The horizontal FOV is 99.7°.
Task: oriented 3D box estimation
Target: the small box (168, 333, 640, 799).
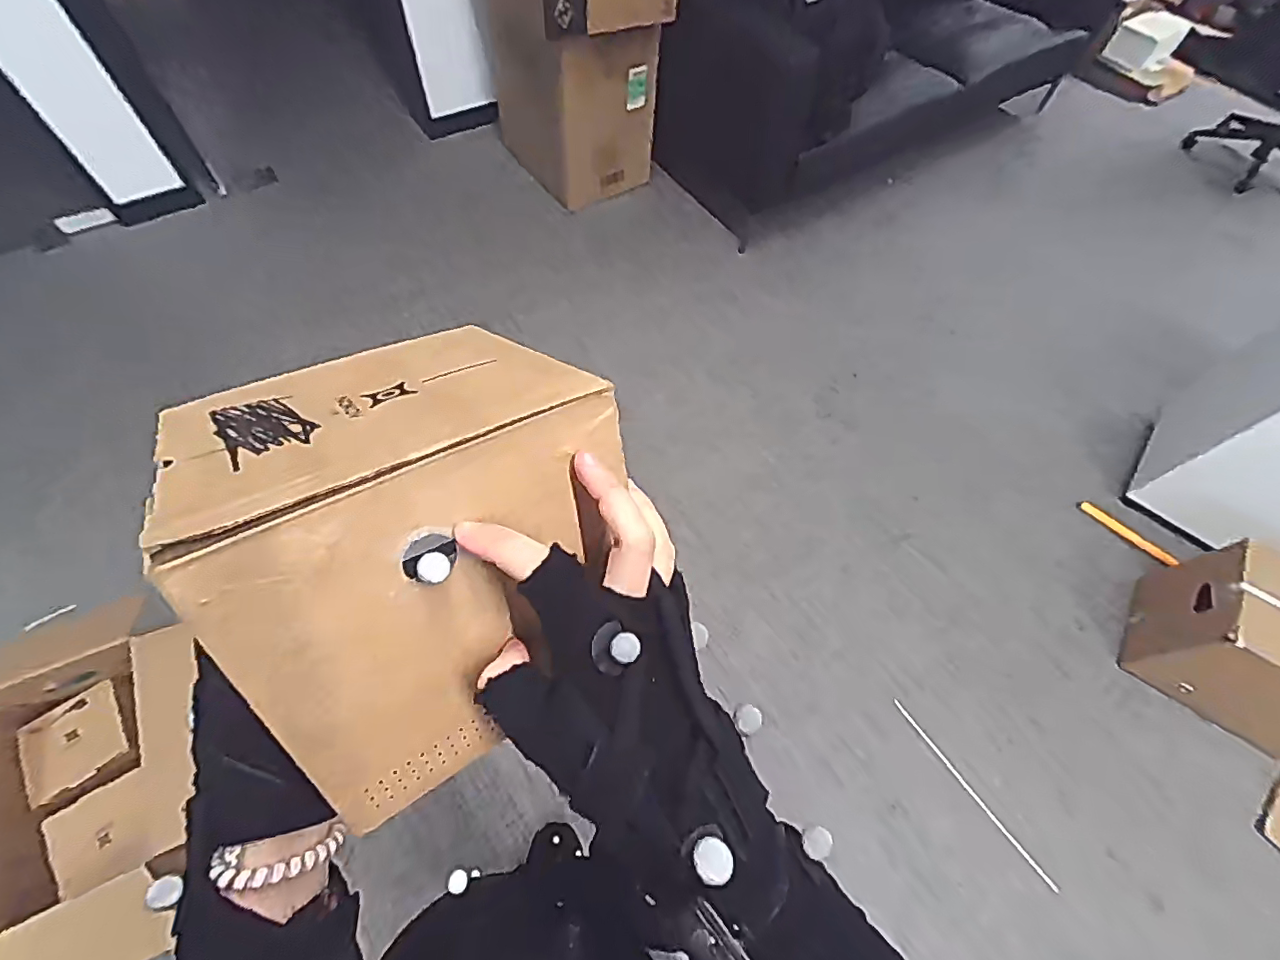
[{"bbox_3d":[-0.119,0.032,0.311,0.179,0.176,0.168,-27,36,-28],"label":"small box"}]
